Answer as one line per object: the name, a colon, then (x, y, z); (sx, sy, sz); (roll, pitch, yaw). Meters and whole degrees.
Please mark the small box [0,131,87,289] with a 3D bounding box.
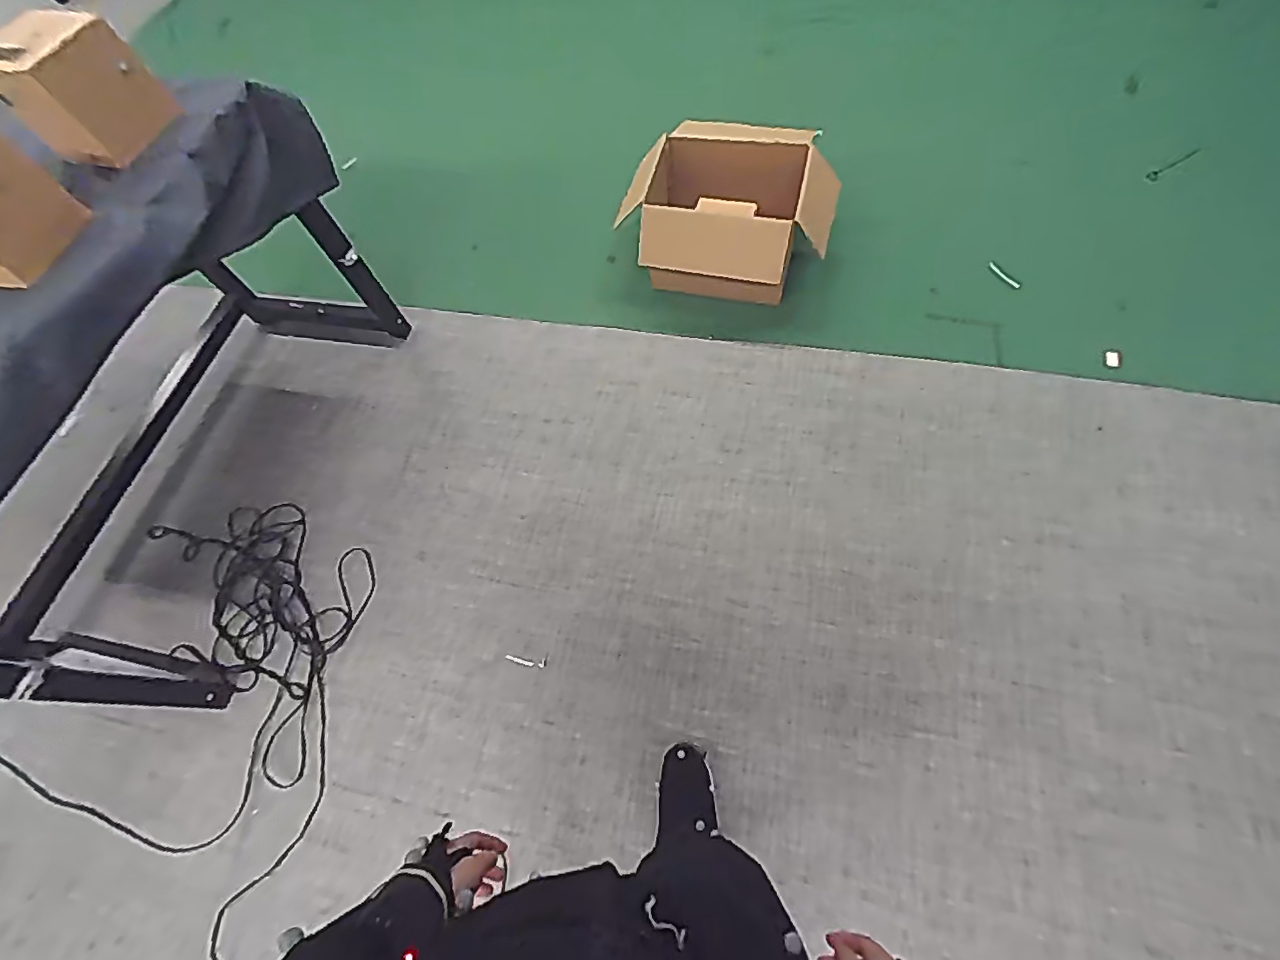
small box: (-1.067, -0.437, 0.868); (0.168, 0.176, 0.179); (6, 66, 9)
